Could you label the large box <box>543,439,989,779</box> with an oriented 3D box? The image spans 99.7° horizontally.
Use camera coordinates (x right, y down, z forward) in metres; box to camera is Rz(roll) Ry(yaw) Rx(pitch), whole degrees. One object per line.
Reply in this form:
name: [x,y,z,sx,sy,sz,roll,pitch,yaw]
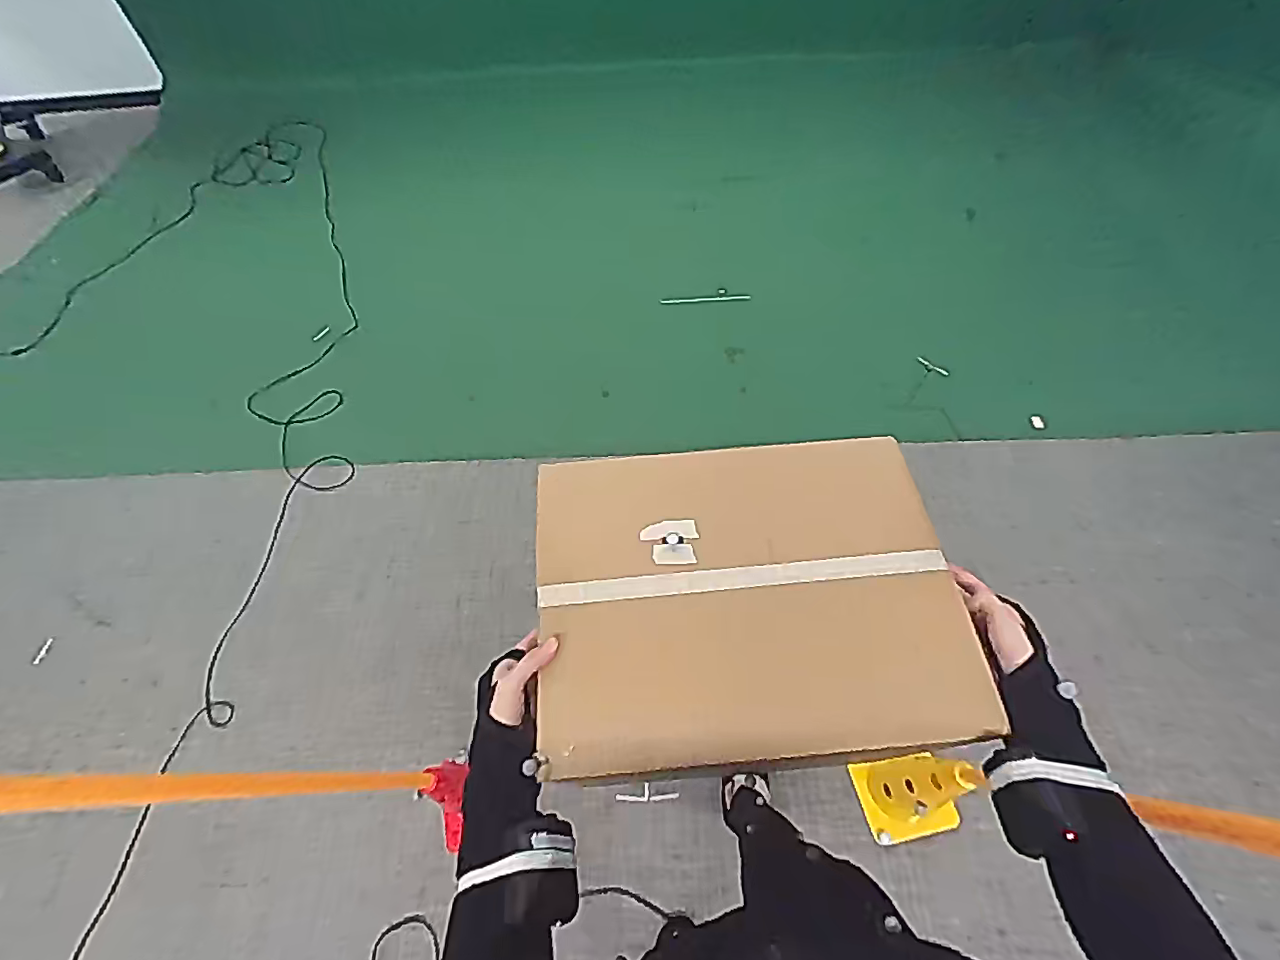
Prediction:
large box: [0.108,0.178,0.677,0.408,0.320,0.320,-6,59,-1]
